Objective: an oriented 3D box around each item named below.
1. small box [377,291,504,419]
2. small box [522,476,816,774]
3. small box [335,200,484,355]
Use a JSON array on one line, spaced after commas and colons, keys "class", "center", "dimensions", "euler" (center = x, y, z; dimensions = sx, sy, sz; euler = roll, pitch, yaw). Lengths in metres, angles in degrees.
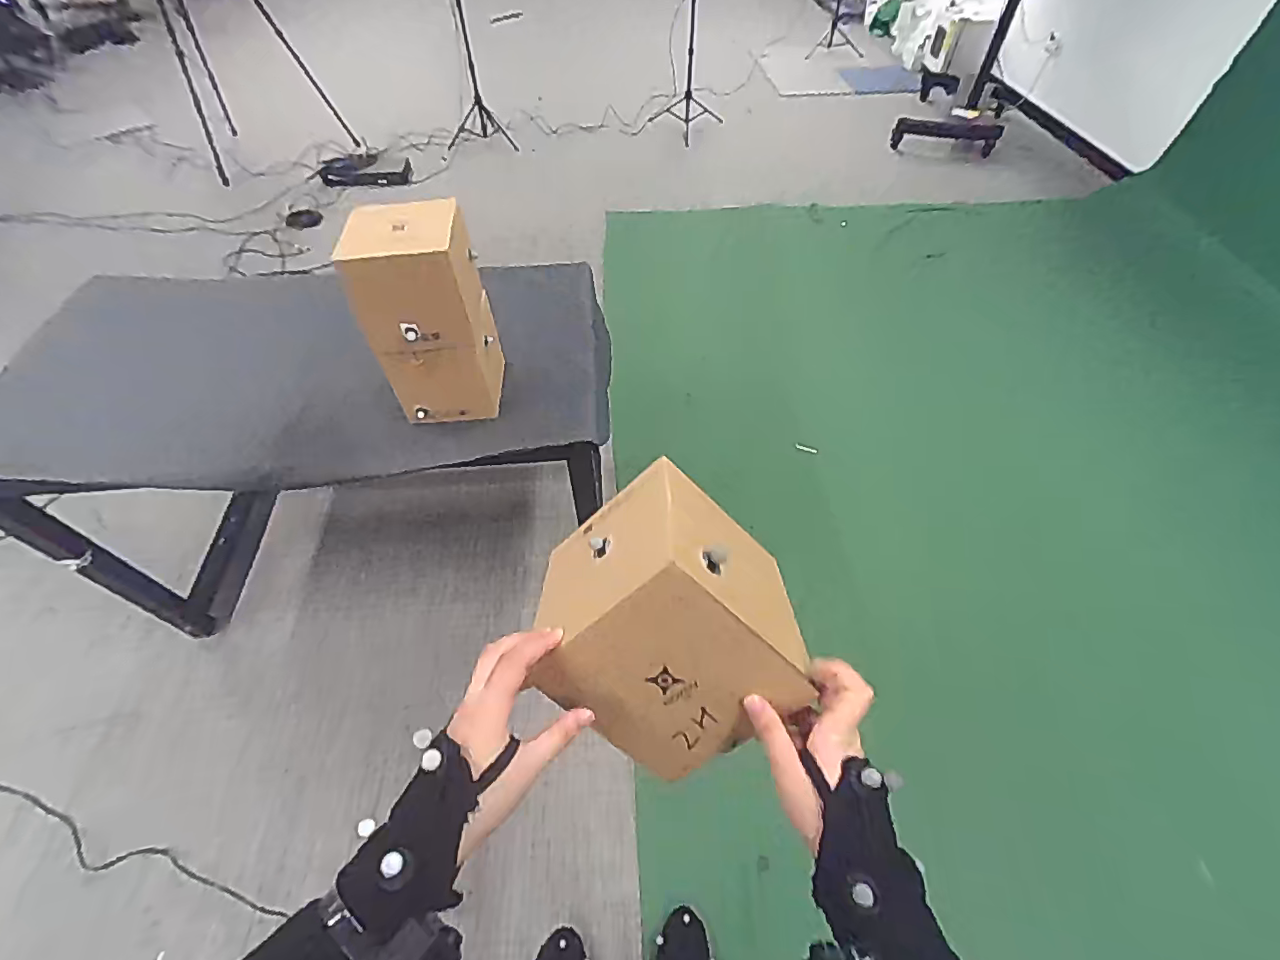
[{"class": "small box", "center": [-0.355, -0.225, 1.002], "dimensions": [0.168, 0.176, 0.179], "euler": [-4, 49, -2]}, {"class": "small box", "center": [0.024, 0.119, 0.494], "dimensions": [0.179, 0.168, 0.176], "euler": [42, 22, -20]}, {"class": "small box", "center": [-0.356, -0.325, 0.874], "dimensions": [0.168, 0.176, 0.179], "euler": [-7, 51, -4]}]
